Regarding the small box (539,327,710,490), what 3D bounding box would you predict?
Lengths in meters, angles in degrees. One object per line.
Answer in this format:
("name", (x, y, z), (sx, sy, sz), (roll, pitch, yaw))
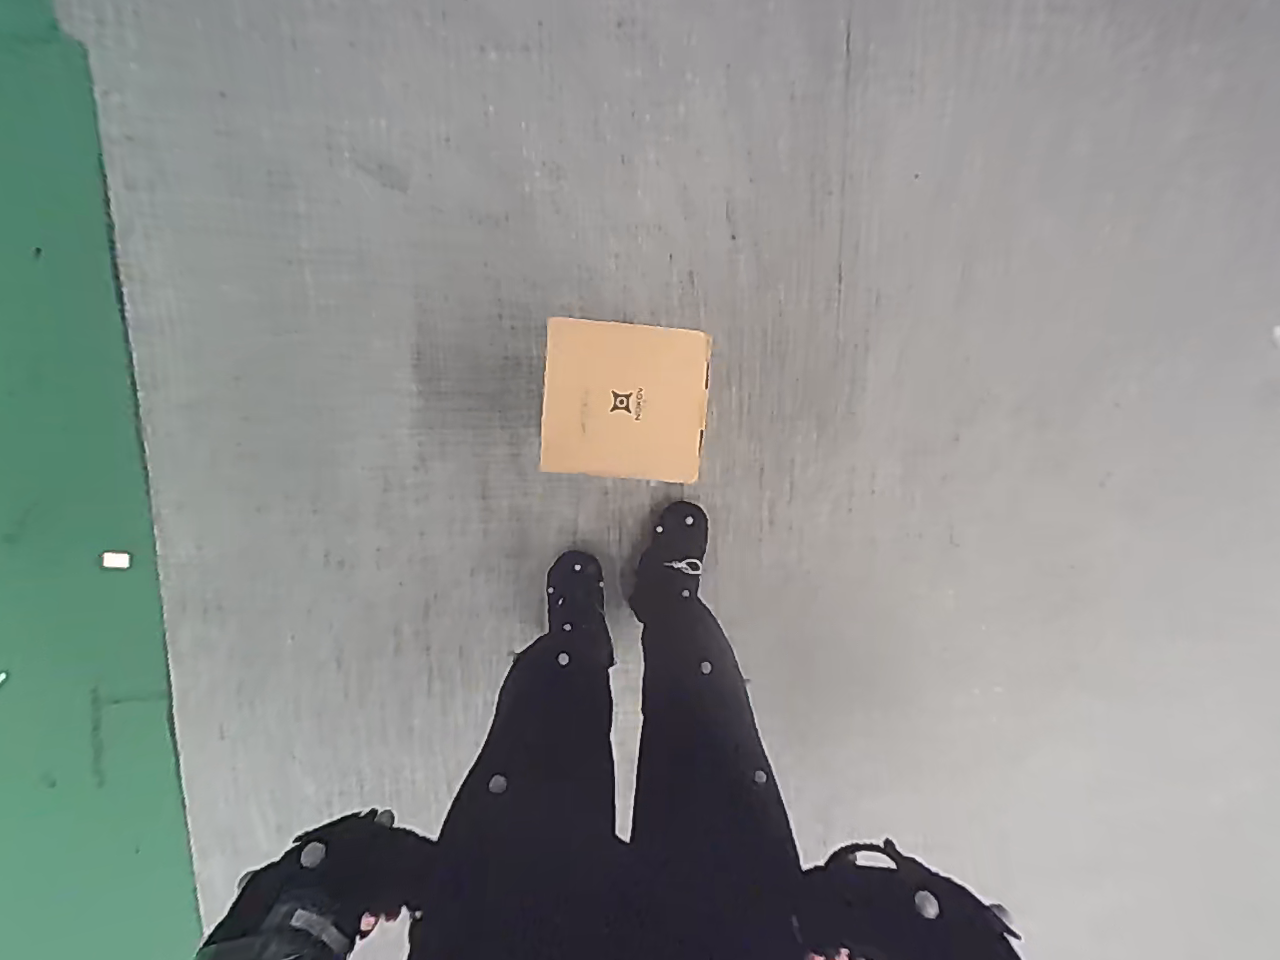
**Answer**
("small box", (-0.021, -0.084, 0.660), (0.179, 0.176, 0.168), (4, 96, -2))
